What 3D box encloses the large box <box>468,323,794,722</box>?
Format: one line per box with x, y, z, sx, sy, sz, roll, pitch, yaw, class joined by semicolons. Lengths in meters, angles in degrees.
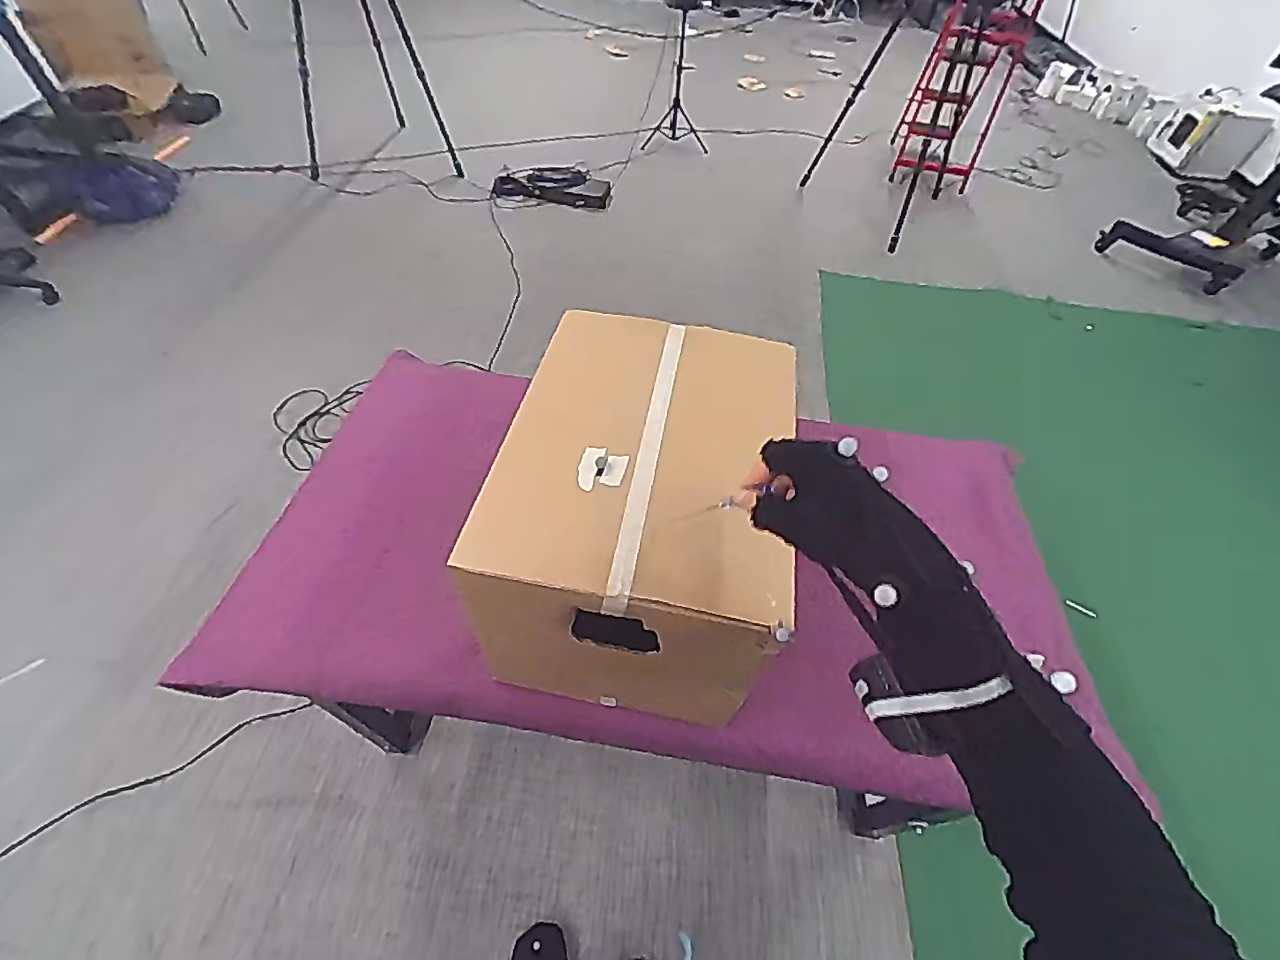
0.009;0.054;0.731;0.320;0.320;0.408;11;52;4;large box
